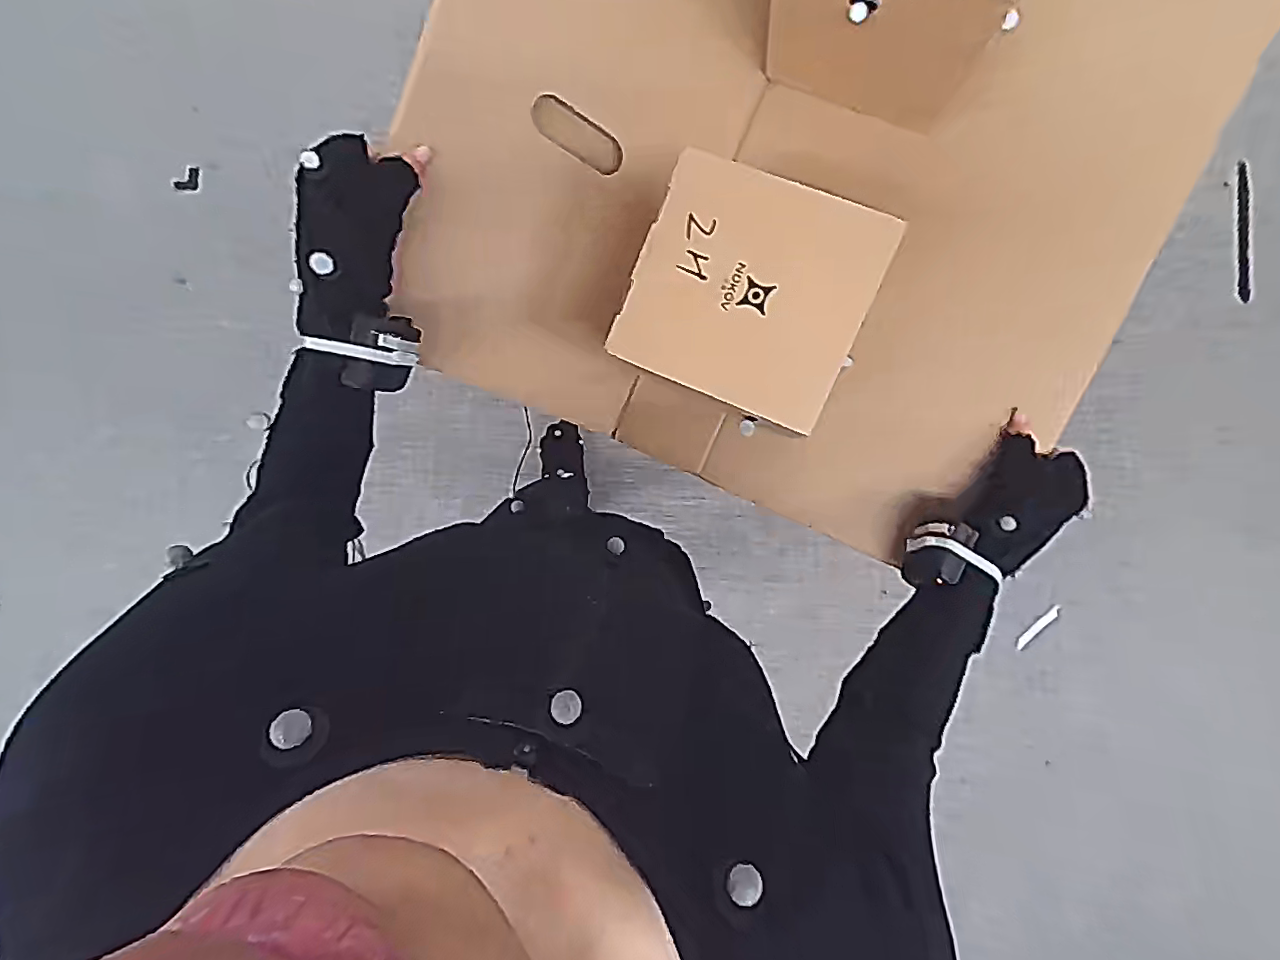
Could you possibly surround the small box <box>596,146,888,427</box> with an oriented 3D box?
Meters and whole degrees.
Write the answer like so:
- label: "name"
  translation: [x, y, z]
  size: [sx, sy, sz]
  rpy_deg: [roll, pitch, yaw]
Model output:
- label: "small box"
  translation: [0.087, -0.156, 0.492]
  size: [0.179, 0.176, 0.168]
  rpy_deg: [24, 98, 9]
